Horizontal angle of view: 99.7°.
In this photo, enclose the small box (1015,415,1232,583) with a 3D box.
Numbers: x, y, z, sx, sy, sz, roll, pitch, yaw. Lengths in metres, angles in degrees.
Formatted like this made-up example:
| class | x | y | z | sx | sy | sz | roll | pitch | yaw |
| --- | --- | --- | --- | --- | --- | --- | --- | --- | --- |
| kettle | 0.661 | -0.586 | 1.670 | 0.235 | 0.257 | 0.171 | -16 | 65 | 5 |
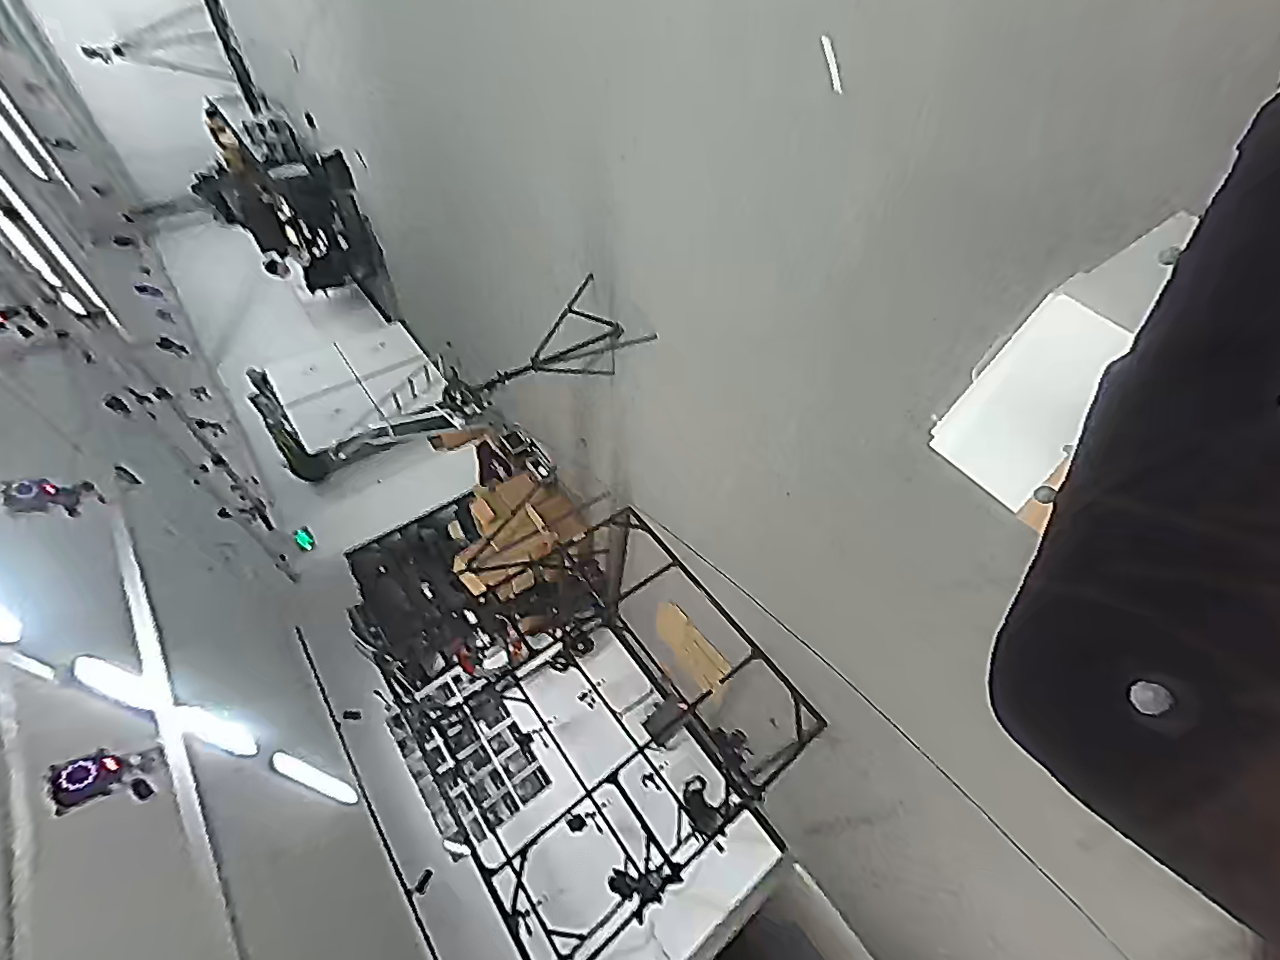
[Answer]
| class | x | y | z | sx | sy | sz | roll | pitch | yaw |
| --- | --- | --- | --- | --- | --- | --- | --- | --- | --- |
| small box | 0.767 | 0.024 | 0.865 | 0.179 | 0.176 | 0.168 | 45 | 150 | 31 |
